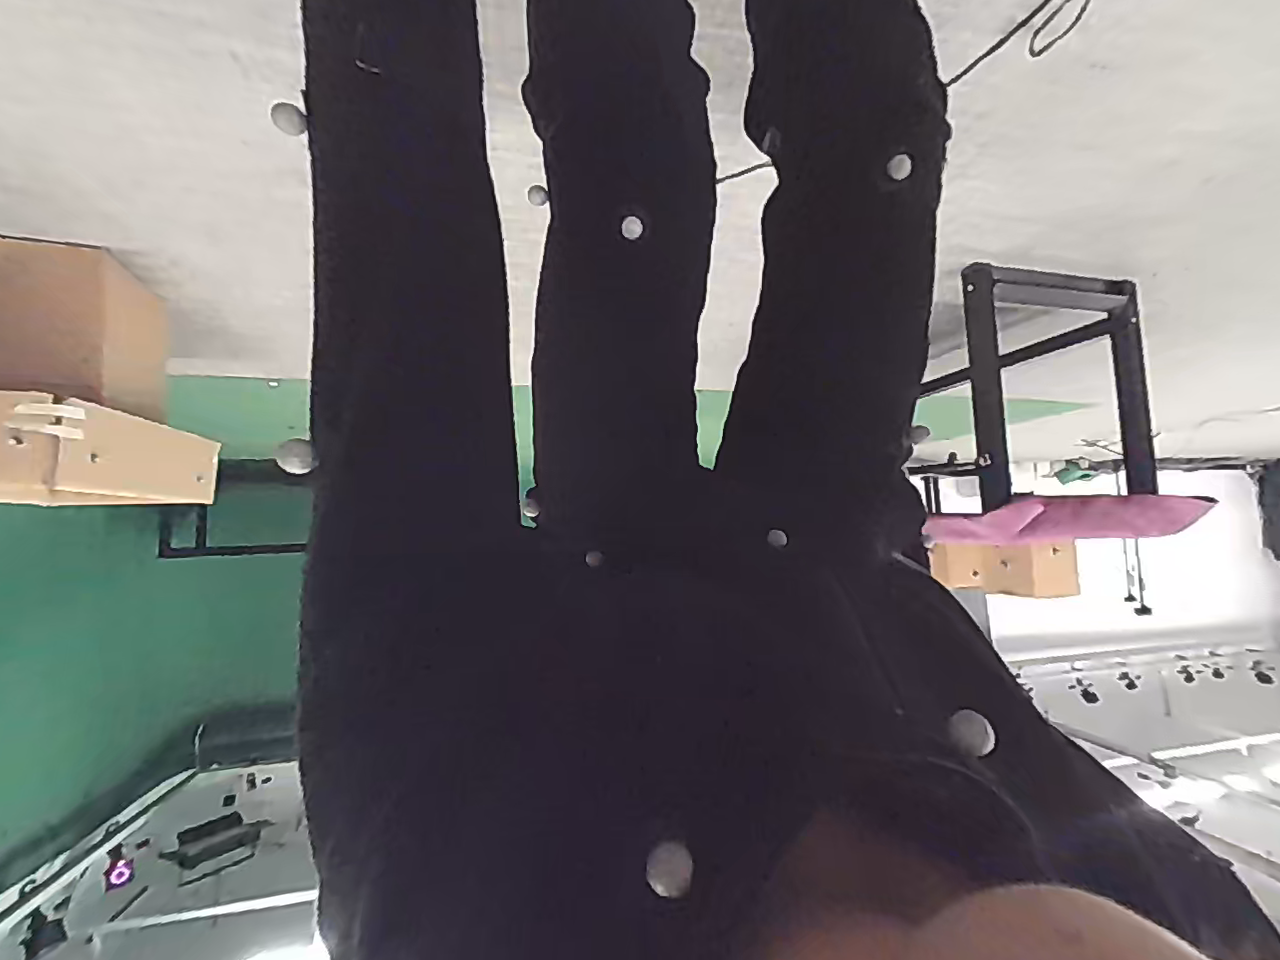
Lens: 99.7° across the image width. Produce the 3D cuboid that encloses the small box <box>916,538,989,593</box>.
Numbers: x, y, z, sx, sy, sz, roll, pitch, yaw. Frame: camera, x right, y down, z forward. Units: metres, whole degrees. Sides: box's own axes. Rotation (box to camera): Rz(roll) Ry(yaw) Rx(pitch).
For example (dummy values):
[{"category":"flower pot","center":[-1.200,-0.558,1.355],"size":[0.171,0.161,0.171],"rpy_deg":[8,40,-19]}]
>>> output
[{"category":"small box","center":[1.060,0.283,1.814],"size":[0.179,0.176,0.168],"rpy_deg":[0,173,-11]}]

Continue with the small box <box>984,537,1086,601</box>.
[{"category":"small box","center":[1.129,0.253,1.556],"size":[0.179,0.176,0.168],"rpy_deg":[1,174,-16]}]
